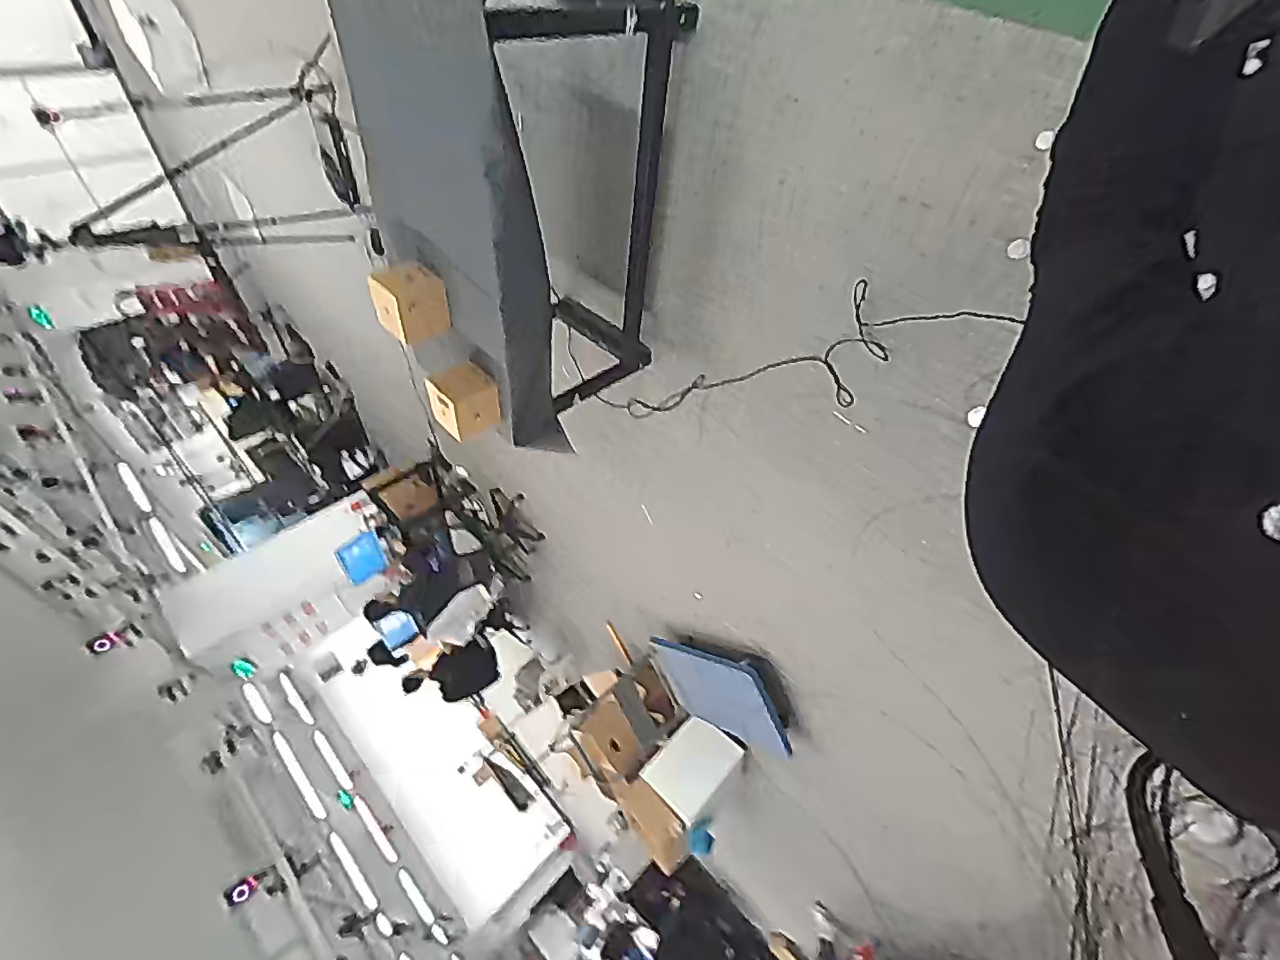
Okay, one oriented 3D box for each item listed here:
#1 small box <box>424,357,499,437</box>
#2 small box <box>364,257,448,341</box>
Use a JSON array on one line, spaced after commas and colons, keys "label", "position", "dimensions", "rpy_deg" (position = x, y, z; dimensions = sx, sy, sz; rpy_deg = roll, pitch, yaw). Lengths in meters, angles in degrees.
[{"label": "small box", "position": [-0.594, -0.285, 1.818], "dimensions": [0.168, 0.176, 0.179], "rpy_deg": [38, 145, 24]}, {"label": "small box", "position": [-0.740, -0.584, 1.725], "dimensions": [0.168, 0.176, 0.179], "rpy_deg": [38, 145, 22]}]
